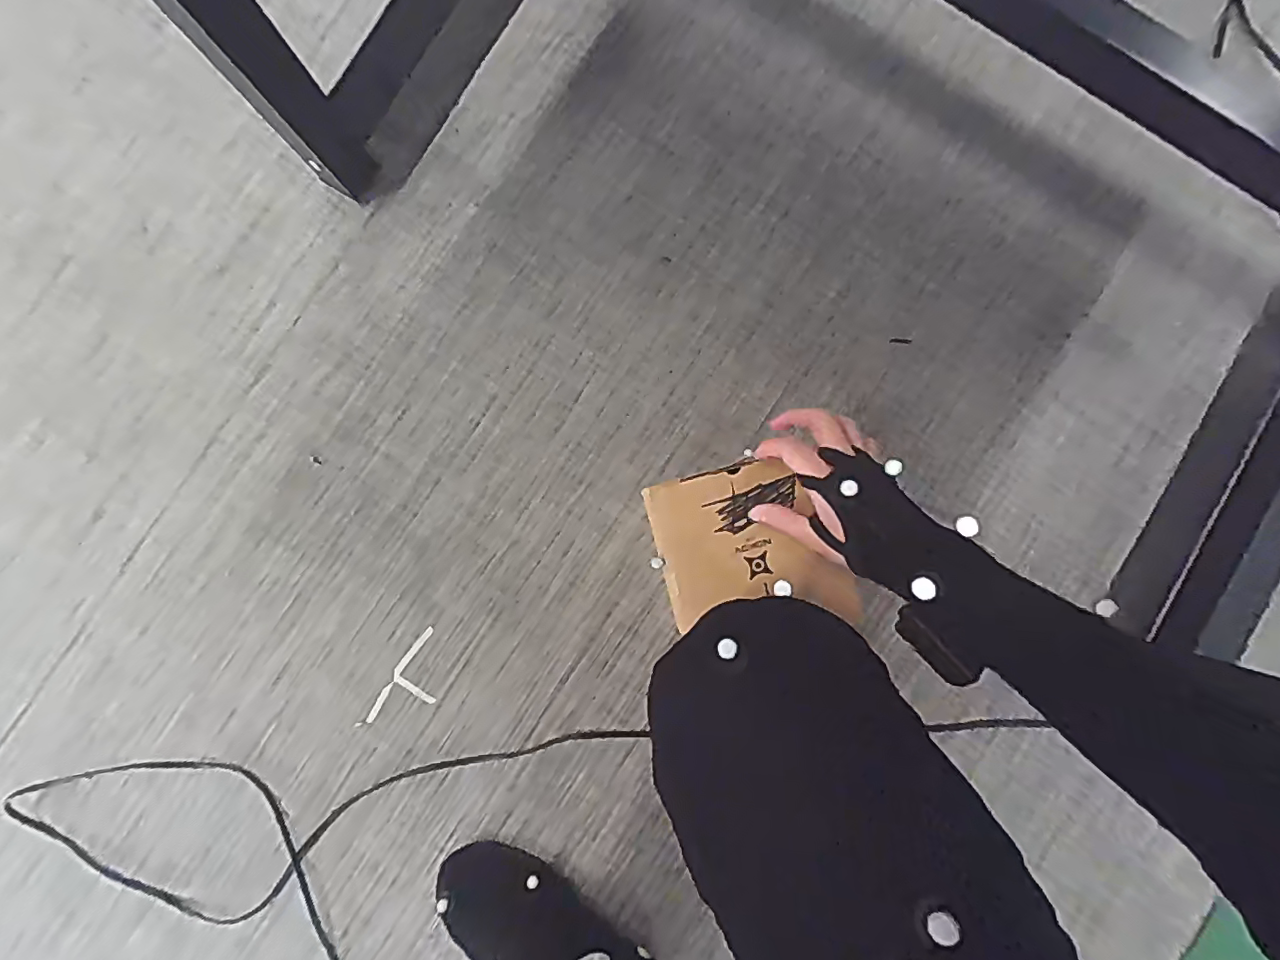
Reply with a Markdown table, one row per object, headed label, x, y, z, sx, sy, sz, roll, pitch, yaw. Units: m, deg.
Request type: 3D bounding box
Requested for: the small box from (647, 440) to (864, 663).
| label | x | y | z | sx | sy | sz | roll | pitch | yaw |
| --- | --- | --- | --- | --- | --- | --- | --- | --- | --- |
| small box | 0.106 | 0.067 | 0.577 | 0.168 | 0.176 | 0.179 | -15 | 90 | -1 |
